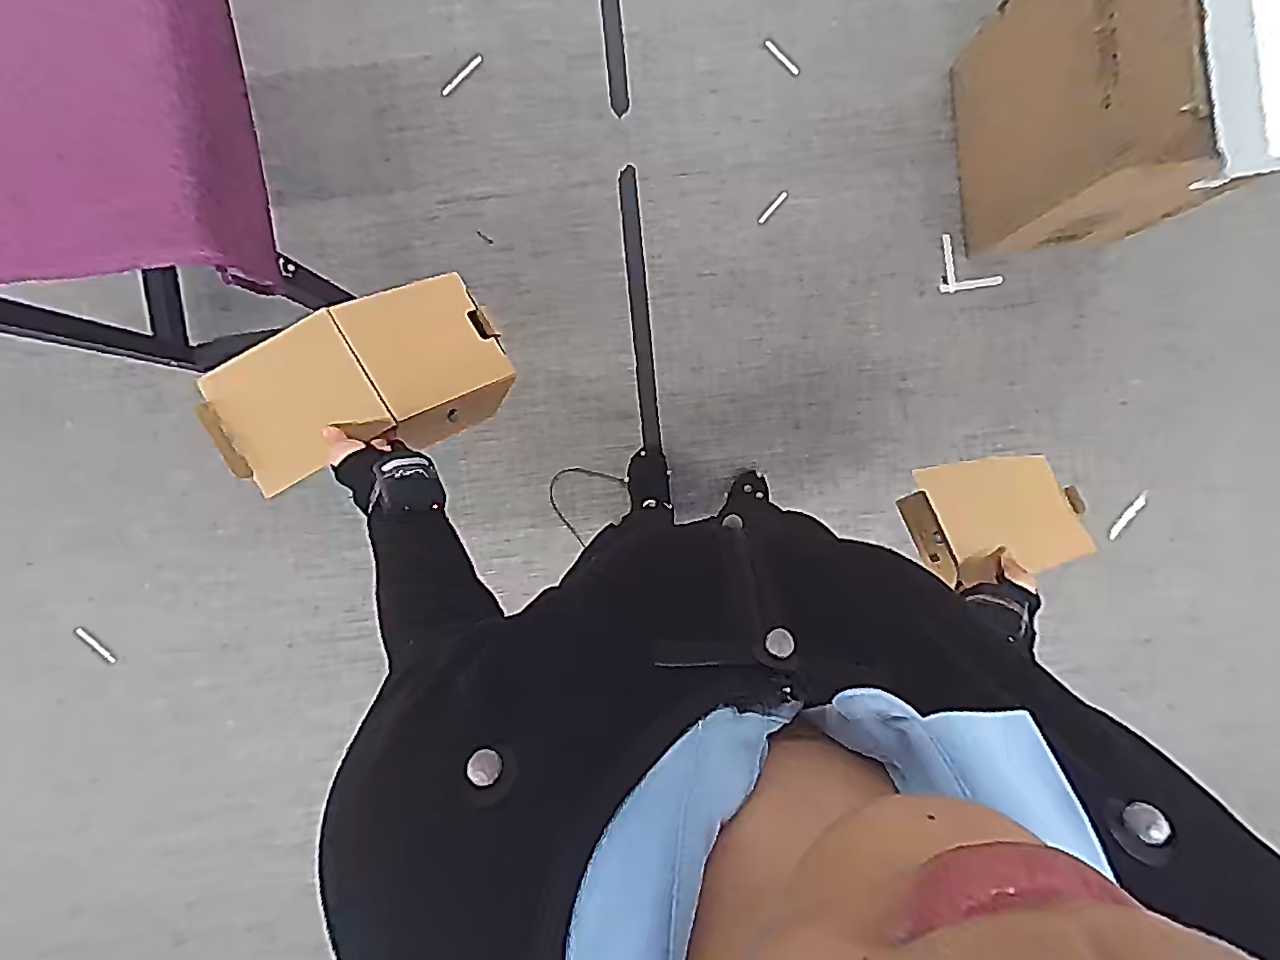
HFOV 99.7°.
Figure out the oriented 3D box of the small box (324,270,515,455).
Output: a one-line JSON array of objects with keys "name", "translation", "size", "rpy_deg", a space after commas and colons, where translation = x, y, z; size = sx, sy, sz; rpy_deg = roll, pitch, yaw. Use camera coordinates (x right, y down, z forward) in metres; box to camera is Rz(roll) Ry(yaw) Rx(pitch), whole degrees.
[{"name": "small box", "translation": [-0.303, -0.154, 0.750], "size": [0.179, 0.176, 0.168], "rpy_deg": [-31, 92, -30]}]
